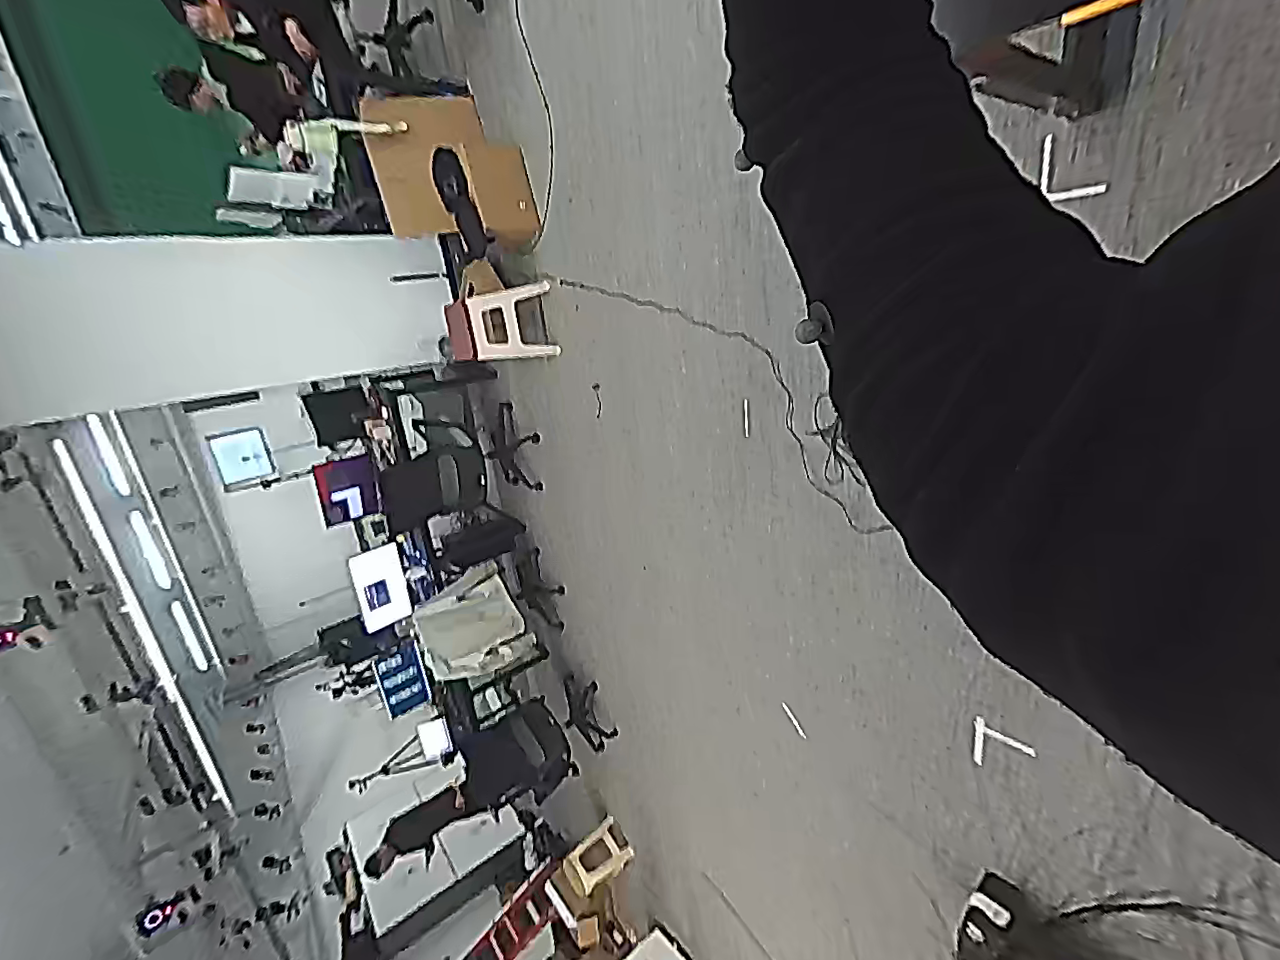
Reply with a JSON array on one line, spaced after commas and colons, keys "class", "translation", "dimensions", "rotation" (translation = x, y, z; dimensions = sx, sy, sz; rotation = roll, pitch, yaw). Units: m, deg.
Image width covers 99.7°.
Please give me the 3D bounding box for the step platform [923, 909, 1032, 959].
[{"class": "step platform", "translation": [1.120, 1.507, 1.403], "dimensions": [0.684, 0.204, 0.286], "rotation": [16, 120, 51]}]
